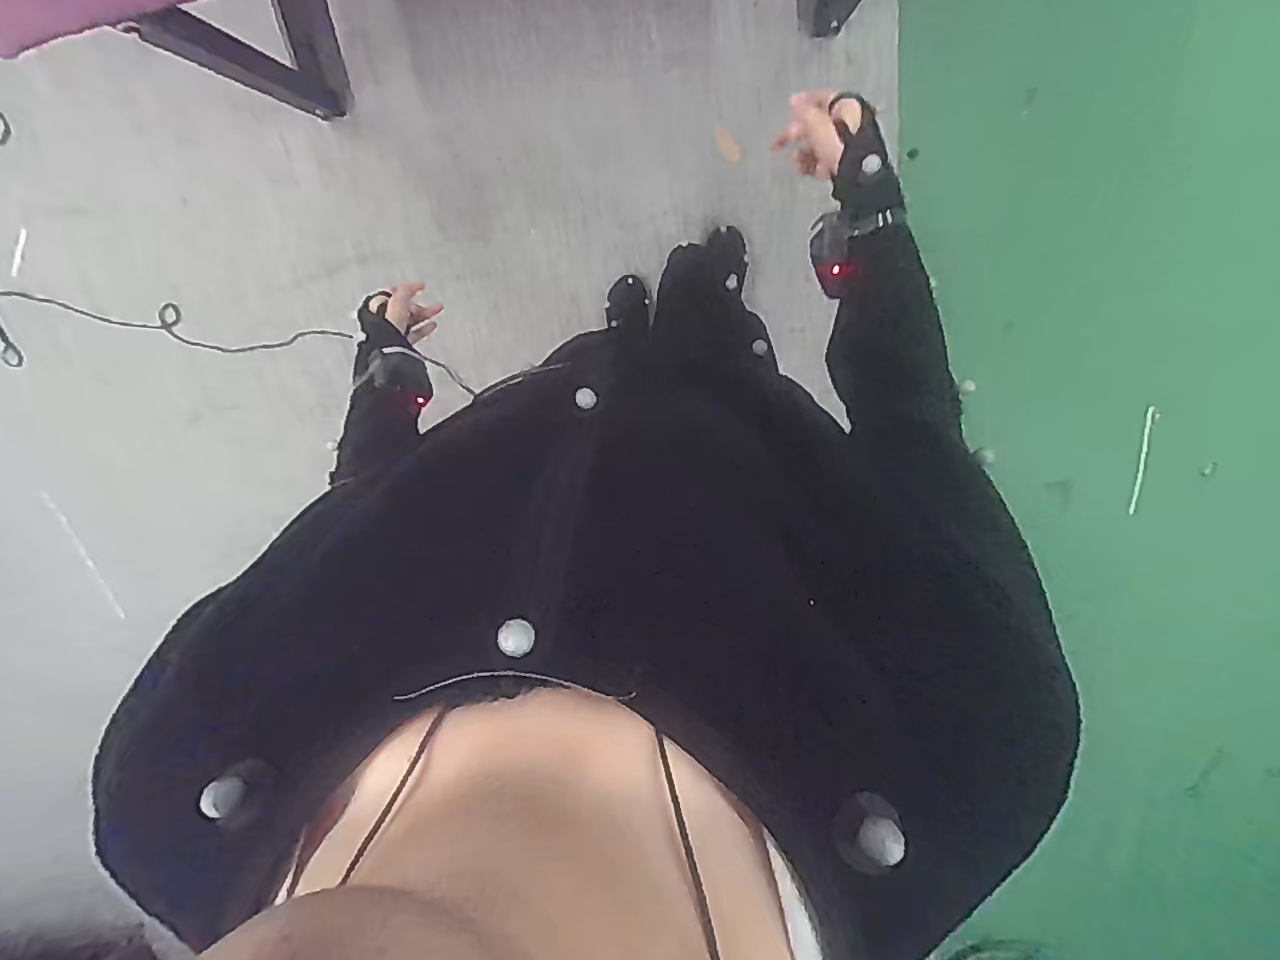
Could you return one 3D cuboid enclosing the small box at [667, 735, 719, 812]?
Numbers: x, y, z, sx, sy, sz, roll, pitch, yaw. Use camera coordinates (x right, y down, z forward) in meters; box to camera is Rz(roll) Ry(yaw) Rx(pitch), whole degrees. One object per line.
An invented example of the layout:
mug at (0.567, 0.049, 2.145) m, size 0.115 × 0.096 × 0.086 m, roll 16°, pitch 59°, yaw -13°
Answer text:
small box at (0.177, 0.991, 1.836) m, size 0.168 × 0.176 × 0.179 m, roll -2°, pitch 111°, yaw 4°
